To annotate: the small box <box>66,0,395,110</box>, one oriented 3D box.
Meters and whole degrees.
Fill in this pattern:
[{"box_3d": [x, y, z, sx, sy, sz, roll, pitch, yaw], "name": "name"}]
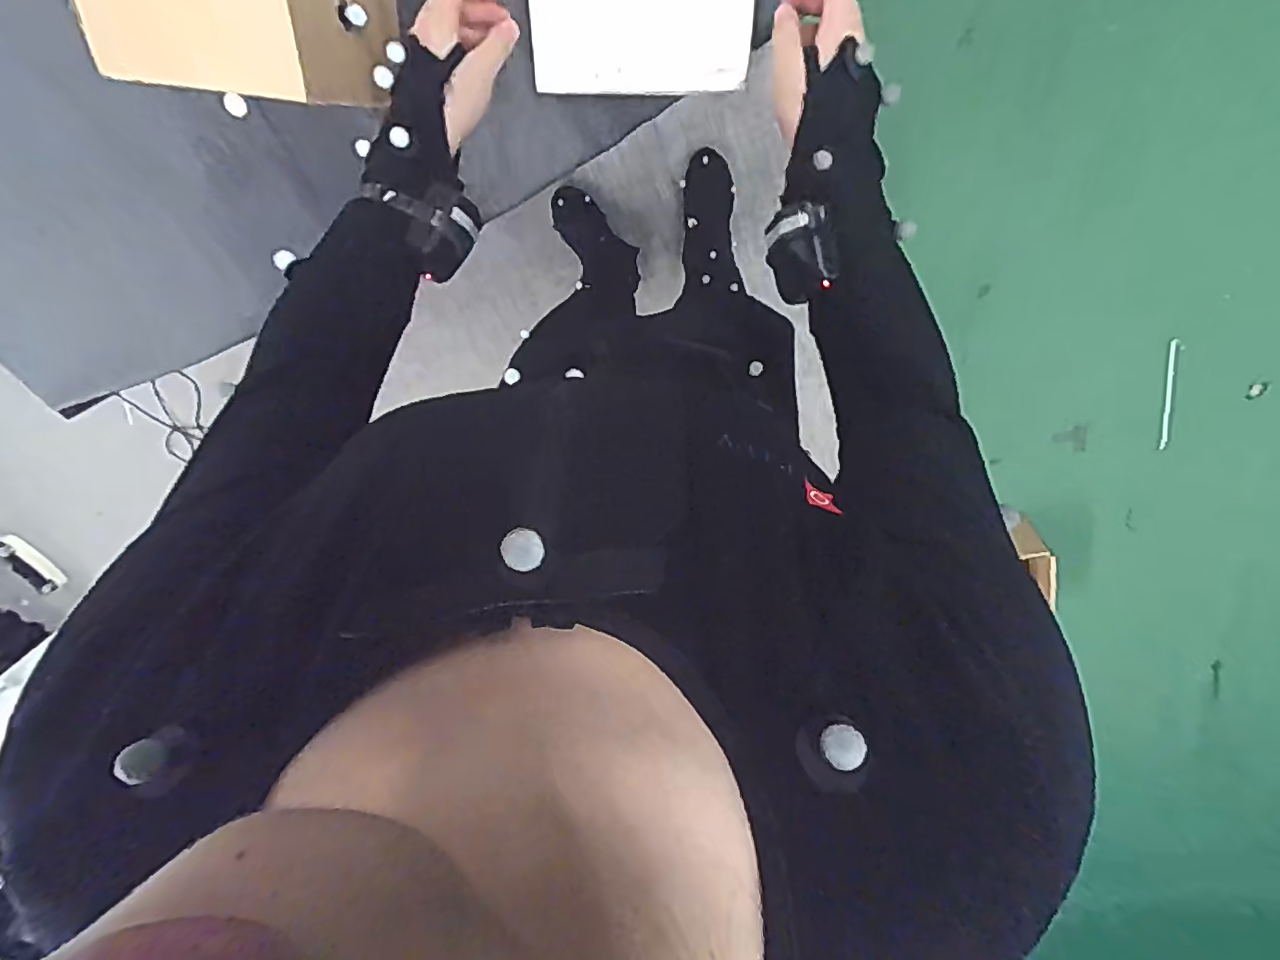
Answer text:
[{"box_3d": [-0.321, -0.411, 0.437, 0.179, 0.176, 0.168, 9, 126, 3], "name": "small box"}]
